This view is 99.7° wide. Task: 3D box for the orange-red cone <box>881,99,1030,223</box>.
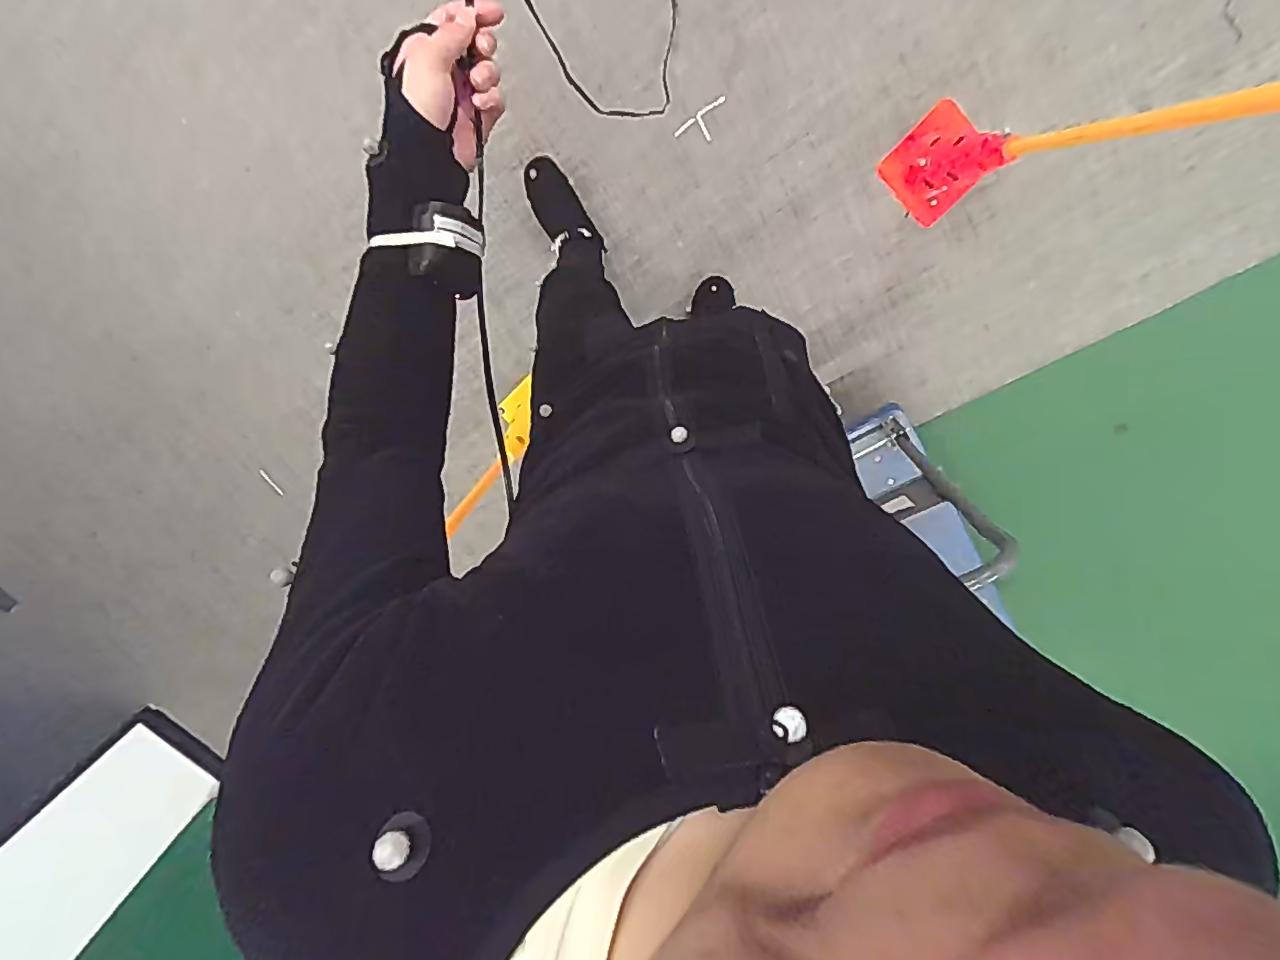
[{"bbox_3d":[0.681,-0.665,1.106,0.198,0.360,0.199,41,112,-14],"label":"orange-red cone"}]
